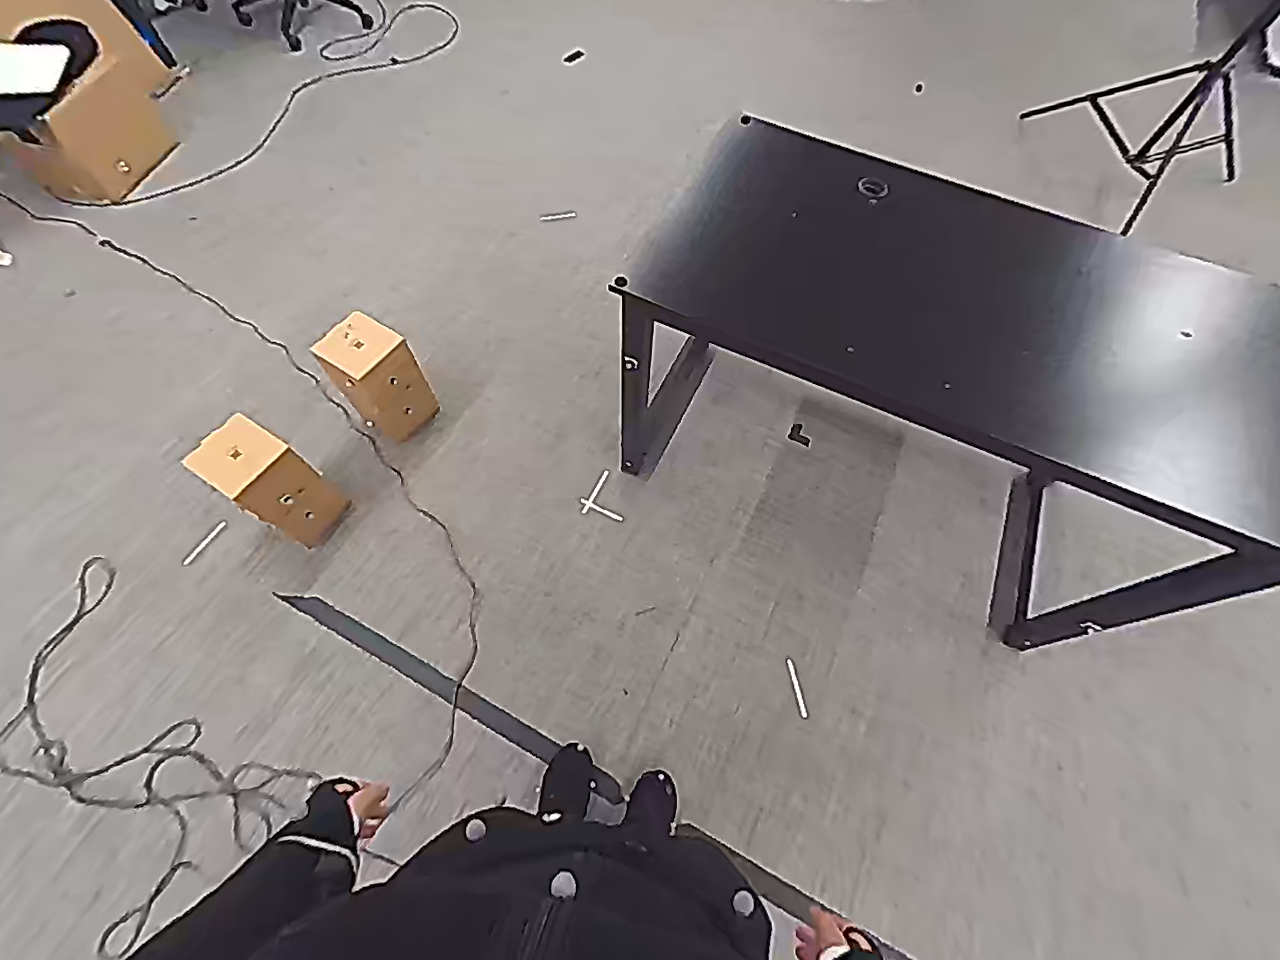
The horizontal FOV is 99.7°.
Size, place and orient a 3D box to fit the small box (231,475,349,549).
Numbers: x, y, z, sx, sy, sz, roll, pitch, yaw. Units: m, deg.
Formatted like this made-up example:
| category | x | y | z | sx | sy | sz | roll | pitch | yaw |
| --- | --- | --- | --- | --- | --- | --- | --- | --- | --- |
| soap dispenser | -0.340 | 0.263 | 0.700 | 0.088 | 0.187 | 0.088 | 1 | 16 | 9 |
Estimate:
| category | x | y | z | sx | sy | sz | roll | pitch | yaw |
| --- | --- | --- | --- | --- | --- | --- | --- | --- | --- |
| small box | -0.934 | 0.064 | 1.465 | 0.168 | 0.176 | 0.179 | 25 | 66 | 10 |

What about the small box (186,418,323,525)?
| category | x | y | z | sx | sy | sz | roll | pitch | yaw |
| --- | --- | --- | --- | --- | --- | --- | --- | --- | --- |
| small box | -0.929 | -0.014 | 1.321 | 0.179 | 0.176 | 0.168 | 30 | 67 | 11 |

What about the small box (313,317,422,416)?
| category | x | y | z | sx | sy | sz | roll | pitch | yaw |
| --- | --- | --- | --- | --- | --- | --- | --- | --- | --- |
| small box | -0.728 | -0.300 | 1.469 | 0.179 | 0.176 | 0.168 | 30 | 65 | 13 |

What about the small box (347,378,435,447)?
| category | x | y | z | sx | sy | sz | roll | pitch | yaw |
| --- | --- | --- | --- | --- | --- | --- | --- | --- | --- |
| small box | -0.741 | -0.235 | 1.620 | 0.168 | 0.176 | 0.179 | 33 | 67 | 14 |
